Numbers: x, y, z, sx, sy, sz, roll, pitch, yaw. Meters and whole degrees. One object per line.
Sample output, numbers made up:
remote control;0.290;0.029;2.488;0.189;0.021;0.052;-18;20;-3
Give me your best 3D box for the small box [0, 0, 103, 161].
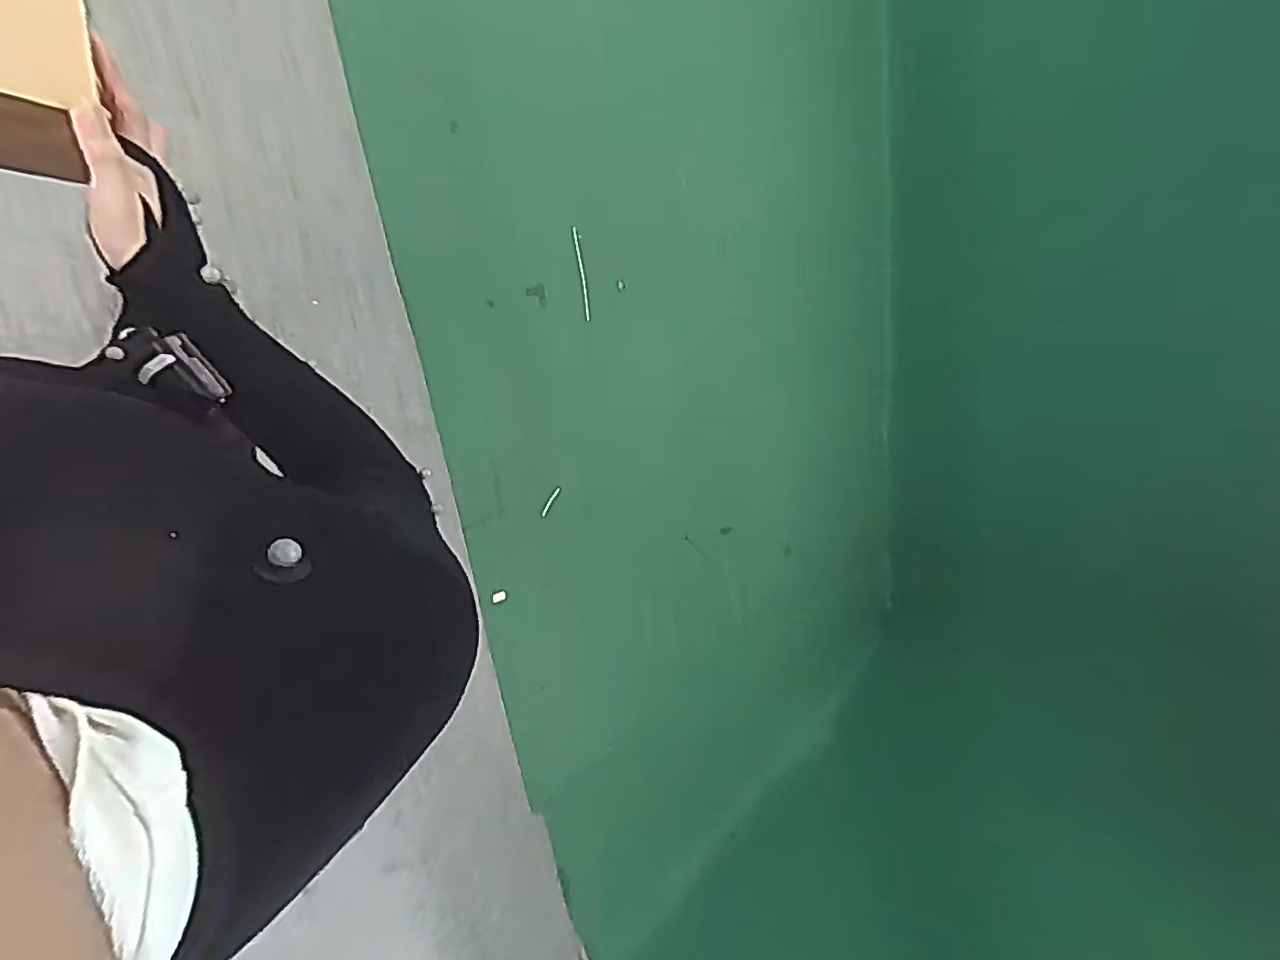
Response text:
small box;-0.482;-0.335;0.348;0.179;0.176;0.168;-10;103;-46
